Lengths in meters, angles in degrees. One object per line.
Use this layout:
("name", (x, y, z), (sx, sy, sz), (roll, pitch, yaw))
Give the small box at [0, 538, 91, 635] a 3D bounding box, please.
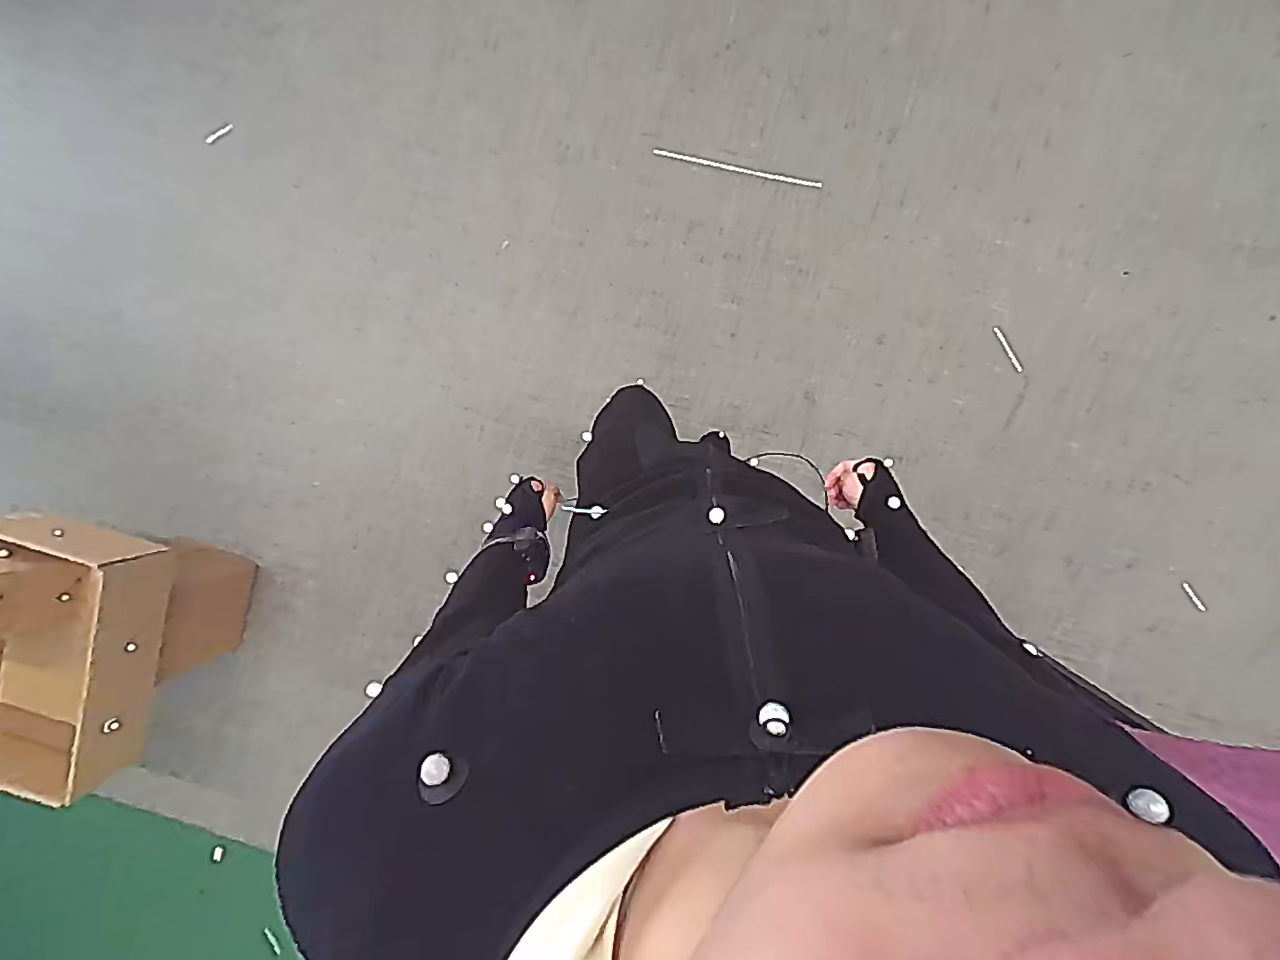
("small box", (-1.483, 0.245, 1.283), (0.179, 0.176, 0.168), (16, 95, 2))
